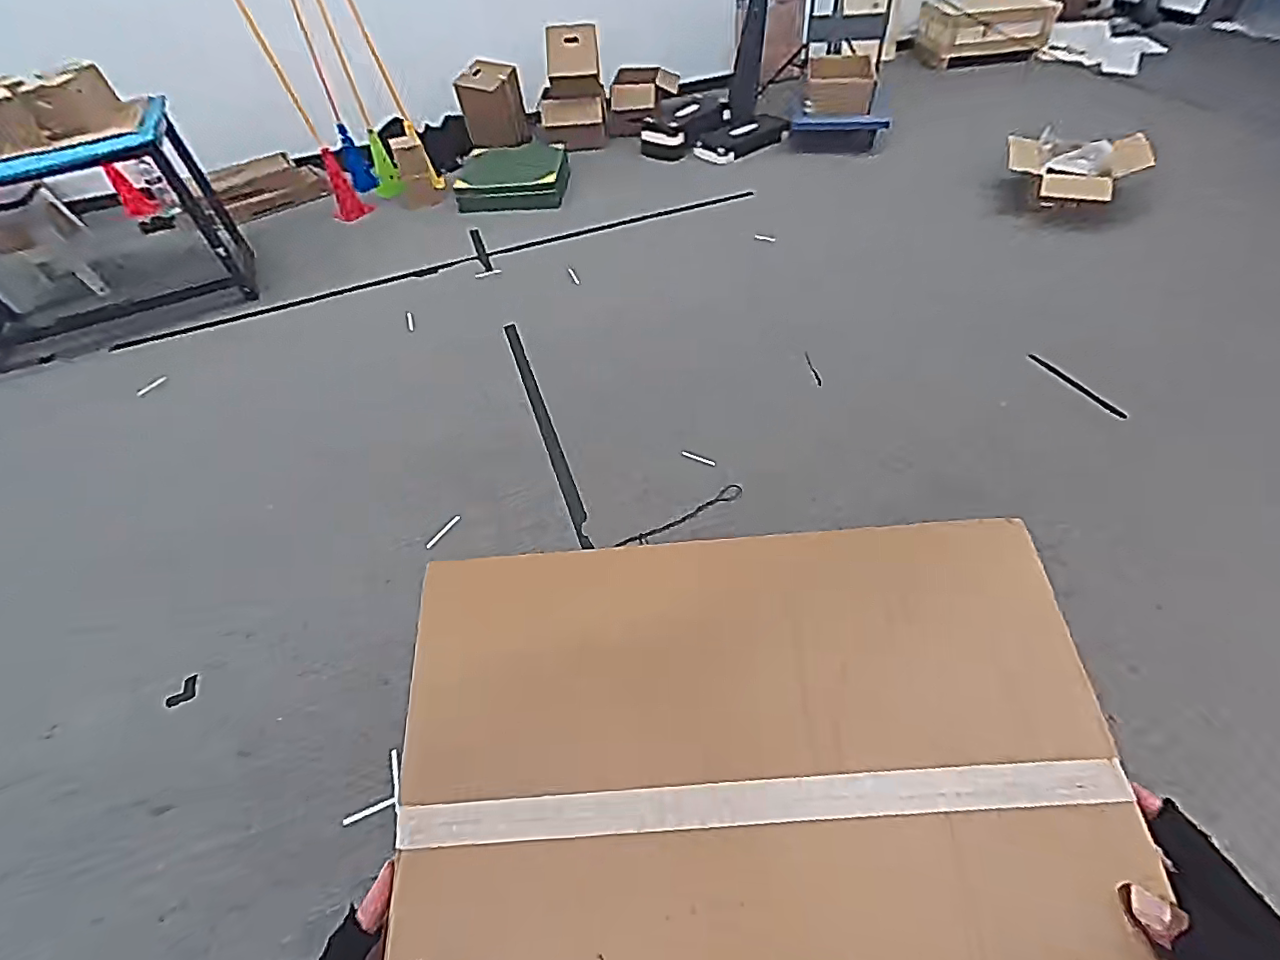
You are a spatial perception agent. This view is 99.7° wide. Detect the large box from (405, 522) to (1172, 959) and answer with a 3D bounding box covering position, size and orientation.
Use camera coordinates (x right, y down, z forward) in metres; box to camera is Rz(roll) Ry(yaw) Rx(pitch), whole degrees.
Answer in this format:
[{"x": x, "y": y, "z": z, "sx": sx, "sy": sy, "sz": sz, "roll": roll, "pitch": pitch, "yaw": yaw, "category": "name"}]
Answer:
[{"x": 0.074, "y": 0.251, "z": 0.448, "sx": 0.408, "sy": 0.320, "sz": 0.320, "roll": -5, "pitch": 65, "yaw": 2, "category": "large box"}]
